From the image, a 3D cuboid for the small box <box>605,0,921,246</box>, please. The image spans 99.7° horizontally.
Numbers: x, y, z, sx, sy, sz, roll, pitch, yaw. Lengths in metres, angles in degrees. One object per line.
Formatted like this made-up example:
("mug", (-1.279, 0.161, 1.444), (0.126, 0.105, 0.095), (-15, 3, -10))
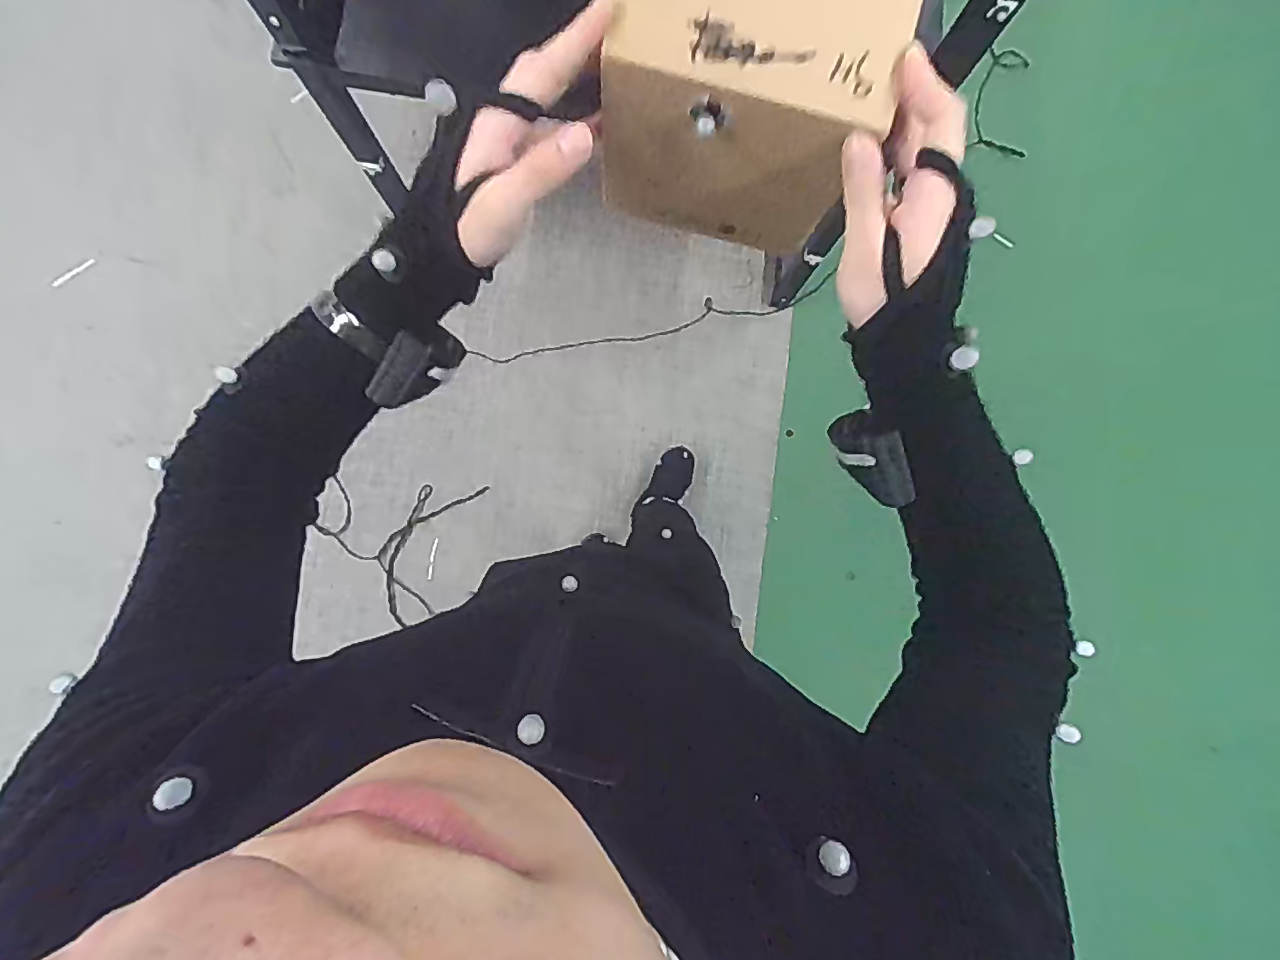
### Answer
("small box", (0.074, -0.296, 0.372), (0.168, 0.176, 0.179), (13, 89, -2))
